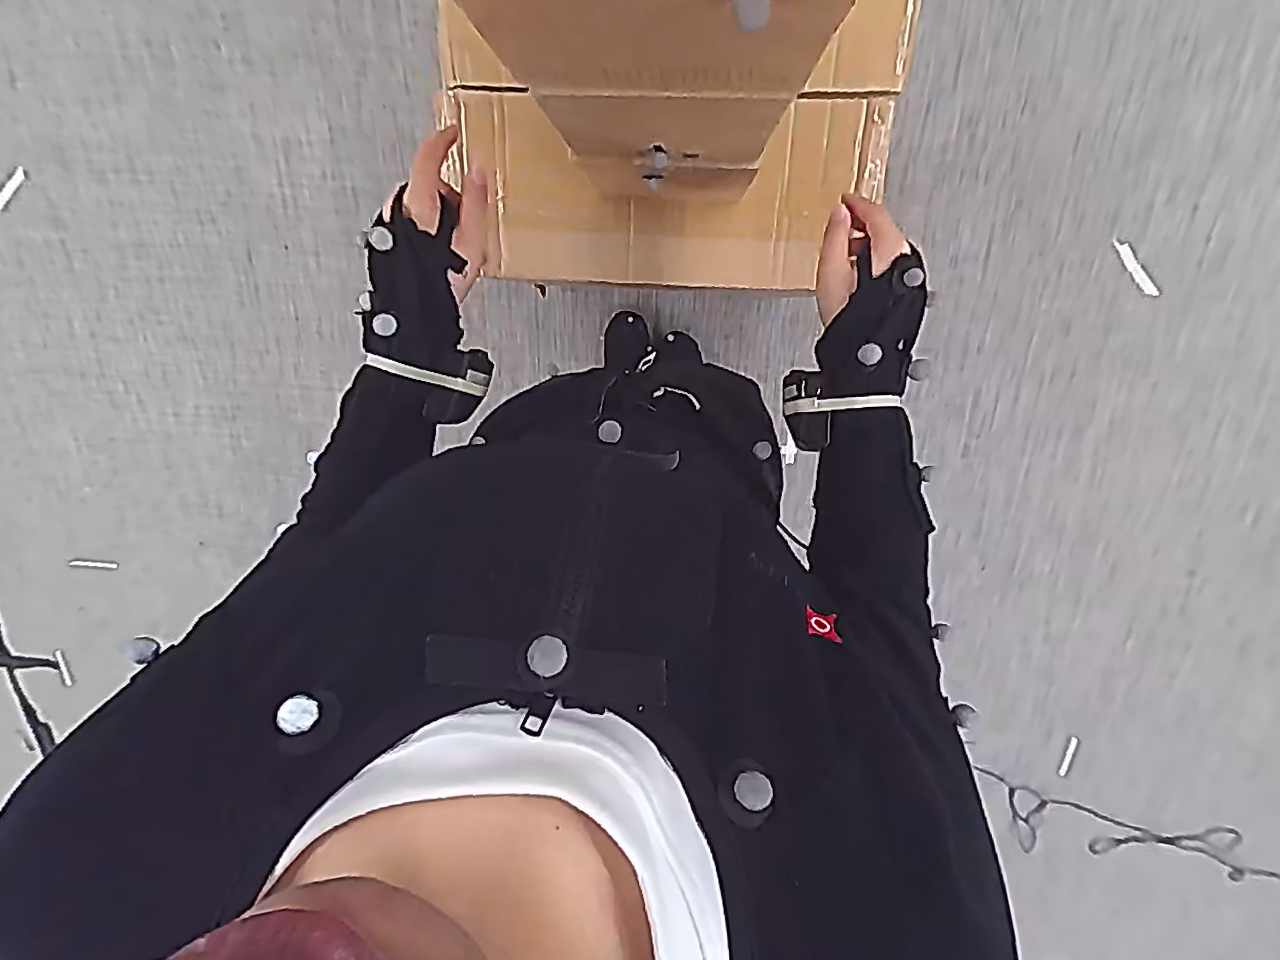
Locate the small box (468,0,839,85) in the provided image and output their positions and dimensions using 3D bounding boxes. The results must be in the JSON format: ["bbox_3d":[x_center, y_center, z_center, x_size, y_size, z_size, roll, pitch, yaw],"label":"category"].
[{"bbox_3d":[0.009,-0.290,0.223,0.179,0.176,0.168,4,109,3],"label":"small box"}]

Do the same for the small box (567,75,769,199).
[{"bbox_3d":[0.031,-0.387,0.537,0.179,0.176,0.168,4,109,3],"label":"small box"}]
